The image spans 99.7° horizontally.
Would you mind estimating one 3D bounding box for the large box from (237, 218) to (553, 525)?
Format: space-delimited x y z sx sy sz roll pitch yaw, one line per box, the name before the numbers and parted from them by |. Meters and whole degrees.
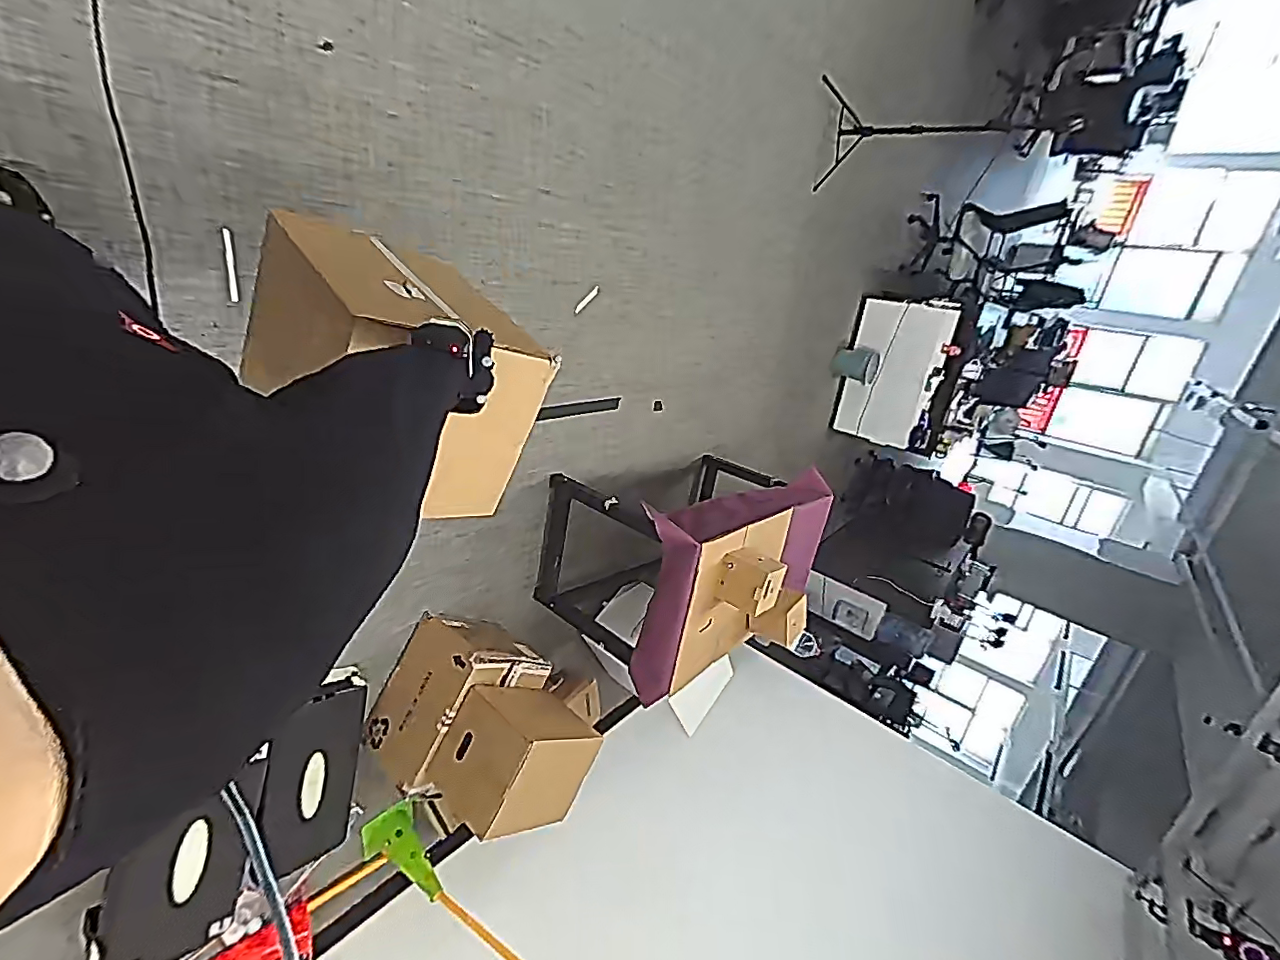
large box | -0.428 -0.173 0.918 0.320 0.408 0.320 -1 127 -50
